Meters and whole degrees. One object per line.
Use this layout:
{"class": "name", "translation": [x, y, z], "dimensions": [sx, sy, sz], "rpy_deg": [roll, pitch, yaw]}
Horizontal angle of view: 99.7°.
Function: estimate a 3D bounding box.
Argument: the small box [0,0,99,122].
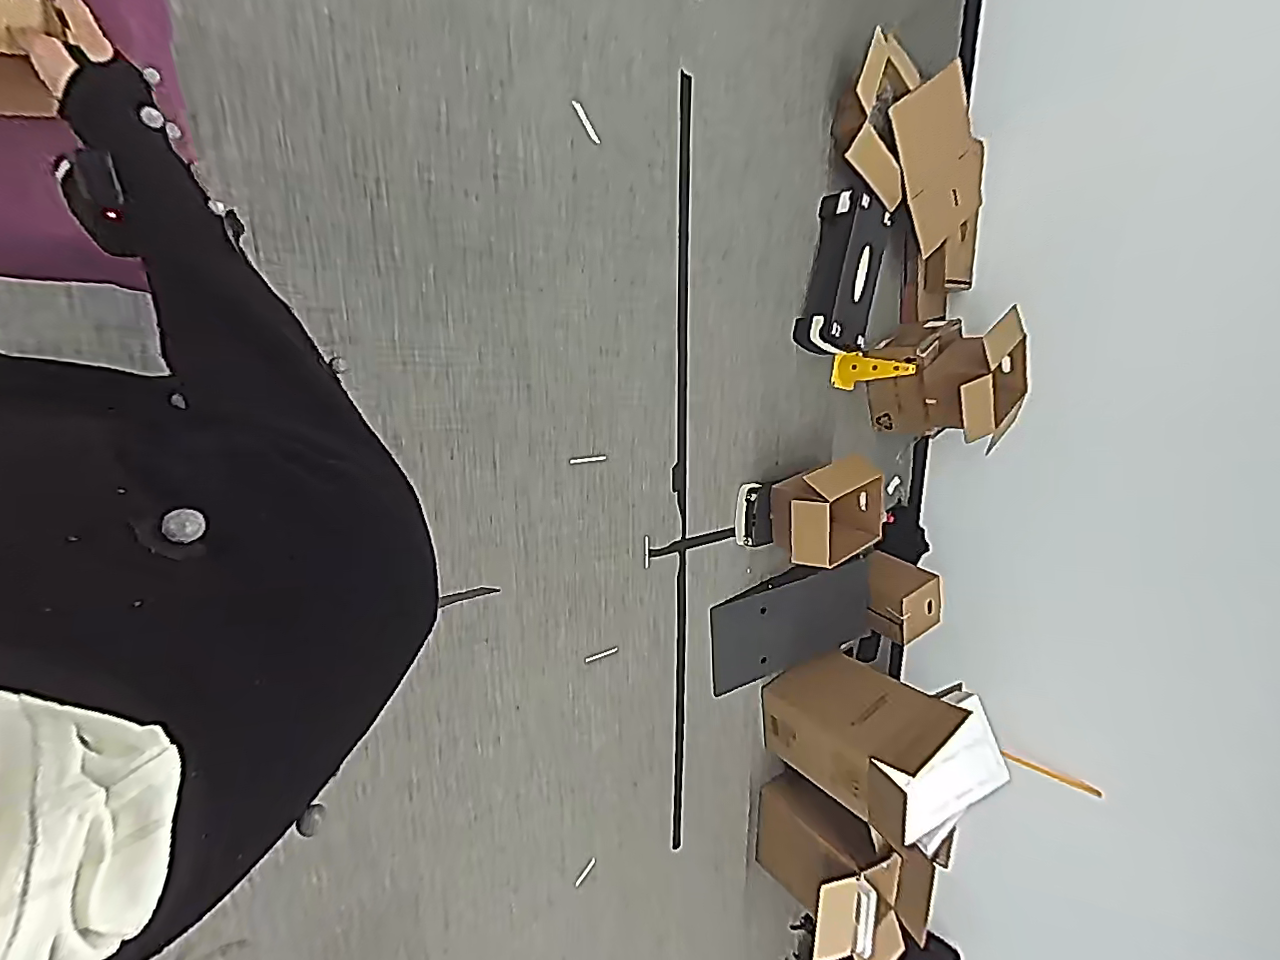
{"class": "small box", "translation": [-0.638, -0.438, 0.477], "dimensions": [0.179, 0.176, 0.168], "rpy_deg": [-20, 113, -32]}
